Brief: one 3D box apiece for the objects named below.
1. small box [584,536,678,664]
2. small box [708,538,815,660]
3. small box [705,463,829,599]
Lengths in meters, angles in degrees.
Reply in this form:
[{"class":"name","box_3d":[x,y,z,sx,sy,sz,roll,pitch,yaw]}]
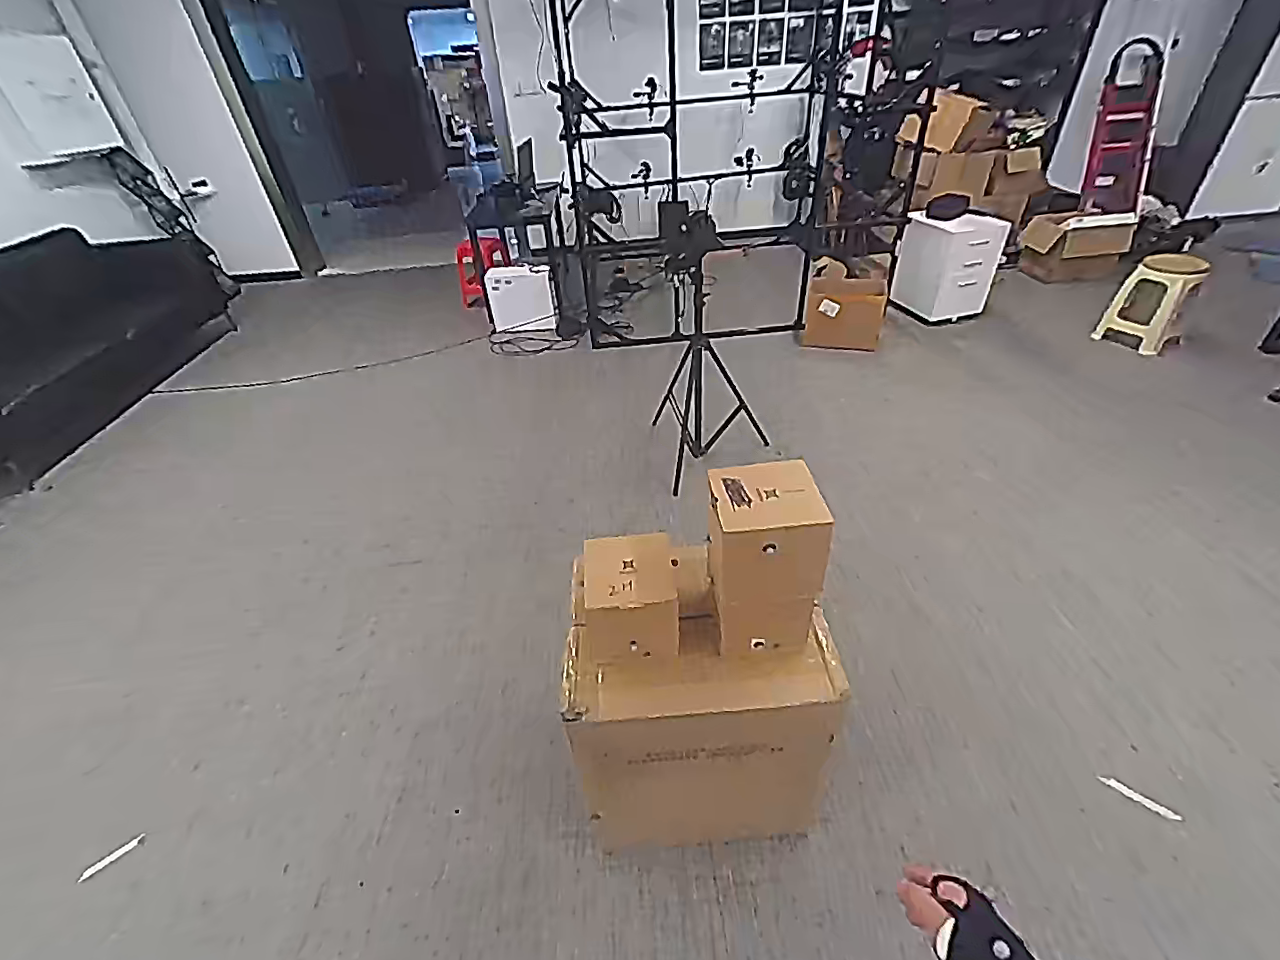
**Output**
[{"class":"small box","box_3d":[-0.019,0.232,1.055,0.168,0.176,0.179,-5,38,-2]},{"class":"small box","box_3d":[0.224,0.221,1.048,0.168,0.176,0.179,-7,39,1]},{"class":"small box","box_3d":[0.213,0.092,0.946,0.179,0.176,0.168,-6,38,1]}]
